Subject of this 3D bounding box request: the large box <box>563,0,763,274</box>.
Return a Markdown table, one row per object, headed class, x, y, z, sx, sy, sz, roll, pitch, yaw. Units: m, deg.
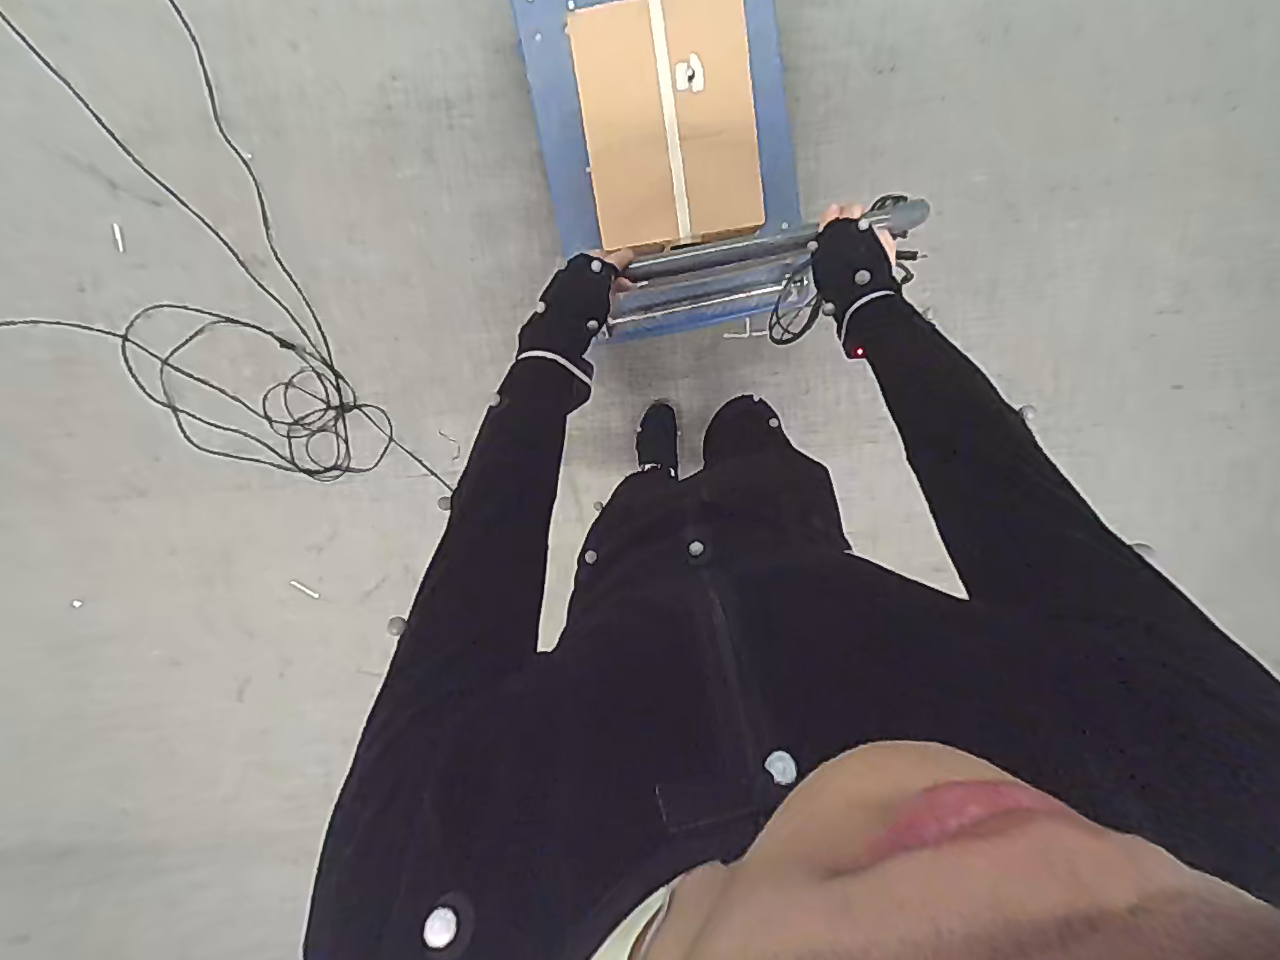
| class | x | y | z | sx | sy | sz | roll | pitch | yaw |
| --- | --- | --- | --- | --- | --- | --- | --- | --- | --- |
| large box | 0.050 | -0.682 | 1.118 | 0.320 | 0.320 | 0.408 | -9 | 102 | 2 |
